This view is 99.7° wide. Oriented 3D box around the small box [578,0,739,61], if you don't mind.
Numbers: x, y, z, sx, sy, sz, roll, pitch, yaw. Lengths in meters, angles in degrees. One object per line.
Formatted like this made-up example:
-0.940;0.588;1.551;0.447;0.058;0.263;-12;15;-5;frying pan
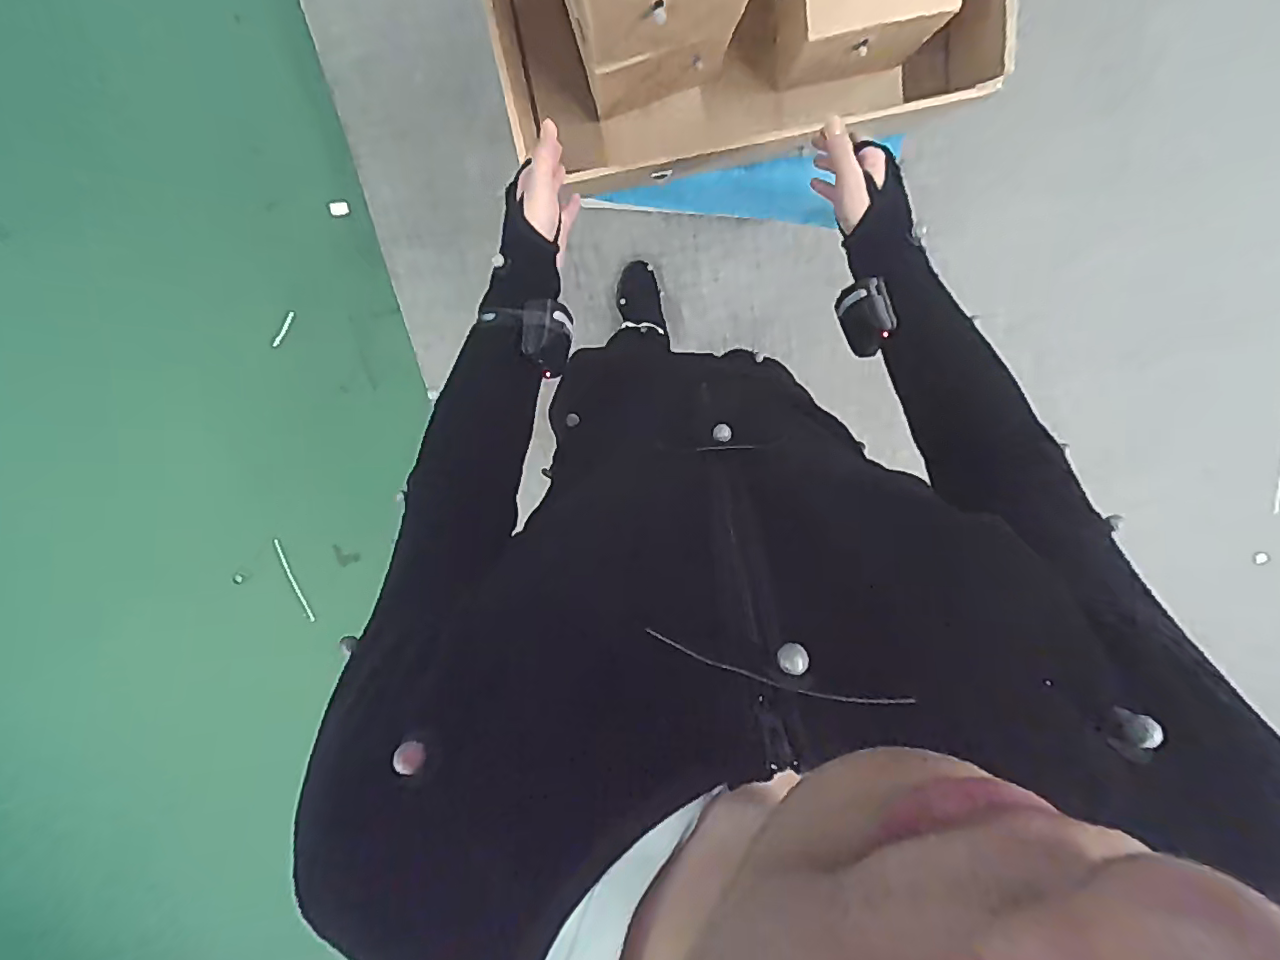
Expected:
0.010;-0.545;0.518;0.179;0.176;0.168;-15;109;4;small box
